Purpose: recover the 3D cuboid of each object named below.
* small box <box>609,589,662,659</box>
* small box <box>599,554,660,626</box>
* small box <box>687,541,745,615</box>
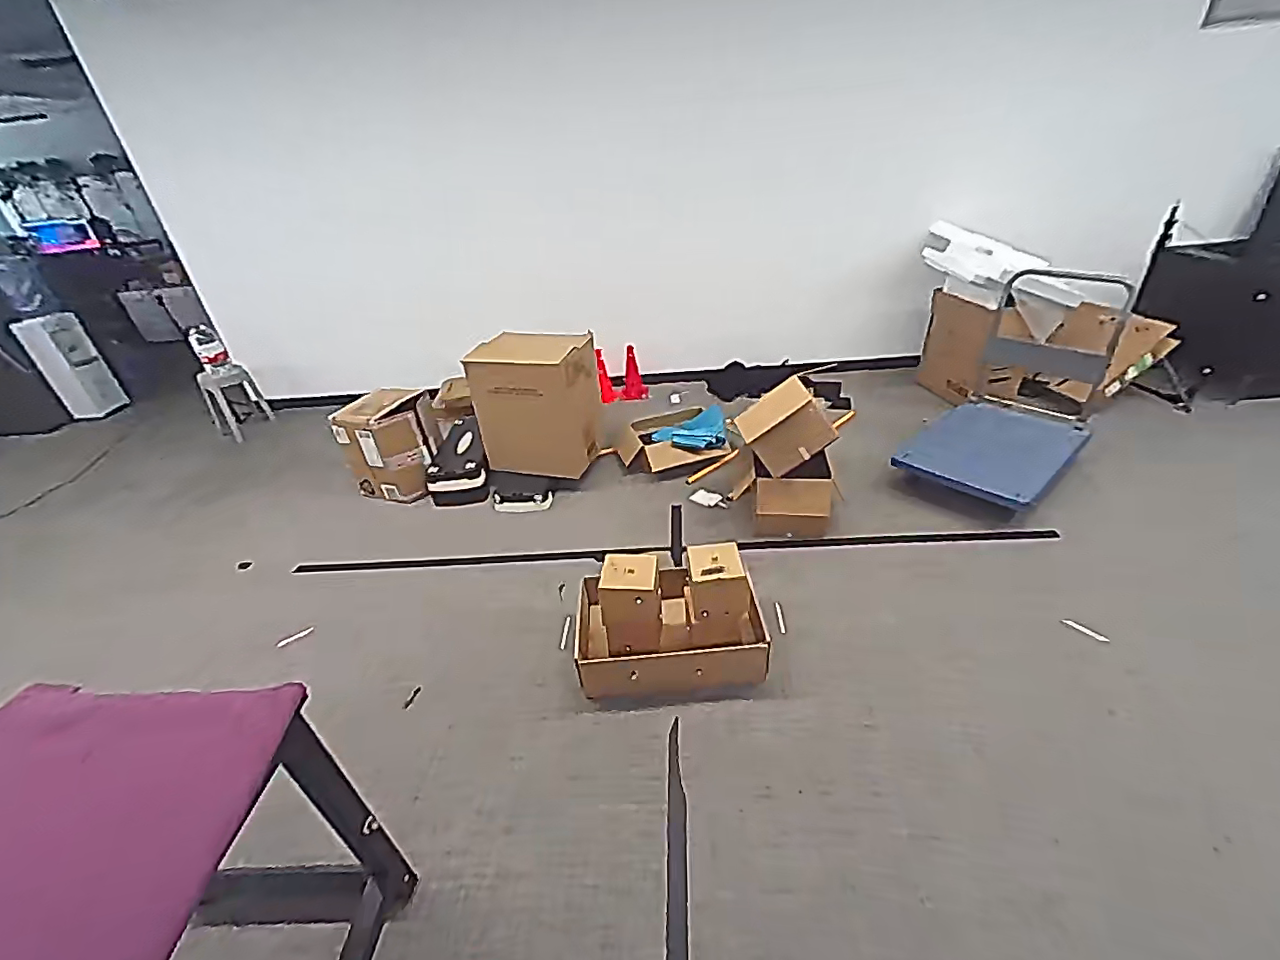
[{"bbox_3d":[-0.013,0.490,1.867,0.168,0.176,0.179,1,32,9],"label":"small box"},{"bbox_3d":[-0.029,0.359,1.765,0.179,0.176,0.168,0,32,7],"label":"small box"},{"bbox_3d":[0.249,0.326,1.768,0.168,0.176,0.179,-6,31,1],"label":"small box"}]
